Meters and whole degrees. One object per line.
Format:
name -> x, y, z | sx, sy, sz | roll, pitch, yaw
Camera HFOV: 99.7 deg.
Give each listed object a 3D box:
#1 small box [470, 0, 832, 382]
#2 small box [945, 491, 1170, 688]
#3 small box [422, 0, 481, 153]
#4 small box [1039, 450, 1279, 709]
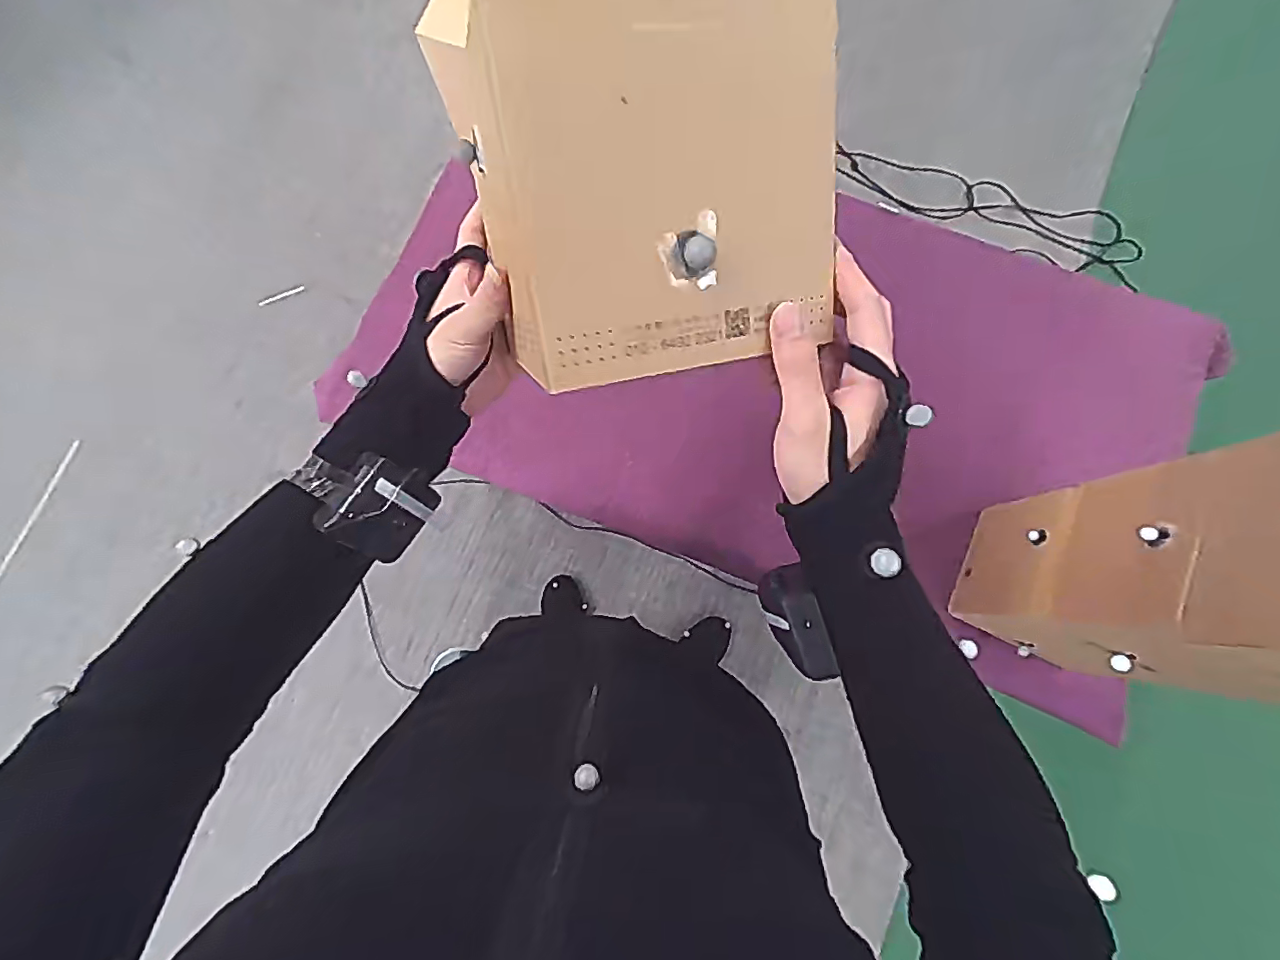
small box -> -0.004, -0.162, 0.334 | 0.168, 0.179, 0.176 | -13, 112, -14
small box -> 0.535, 0.133, 0.683 | 0.179, 0.176, 0.168 | 26, 79, 5
small box -> -0.117, -0.483, 0.634 | 0.168, 0.176, 0.179 | 19, 80, 3
small box -> 0.538, 0.098, 0.524 | 0.168, 0.176, 0.179 | 25, 80, 7
